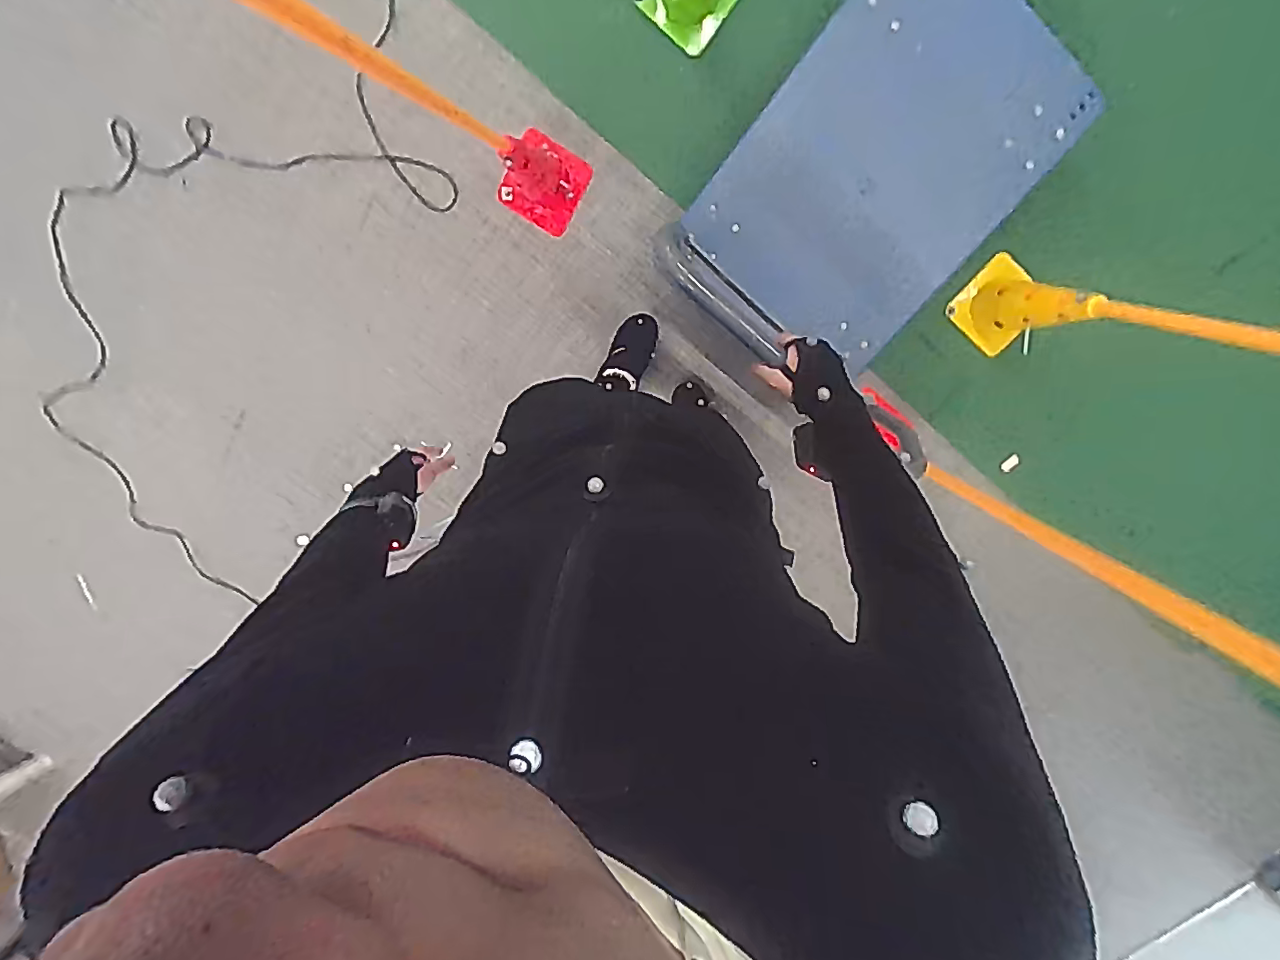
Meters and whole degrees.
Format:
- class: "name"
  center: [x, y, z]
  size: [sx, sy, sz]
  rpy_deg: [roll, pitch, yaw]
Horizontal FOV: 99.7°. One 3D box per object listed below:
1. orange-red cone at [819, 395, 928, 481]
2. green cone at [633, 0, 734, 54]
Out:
- class: "orange-red cone"
  center: [0.635, -0.071, 1.381]
  size: [0.198, 0.360, 0.199]
  rpy_deg: [39, 103, -9]
- class: "green cone"
  center: [0.101, -1.094, 1.093]
  size: [0.200, 0.368, 0.202]
  rpy_deg: [39, 104, -8]
